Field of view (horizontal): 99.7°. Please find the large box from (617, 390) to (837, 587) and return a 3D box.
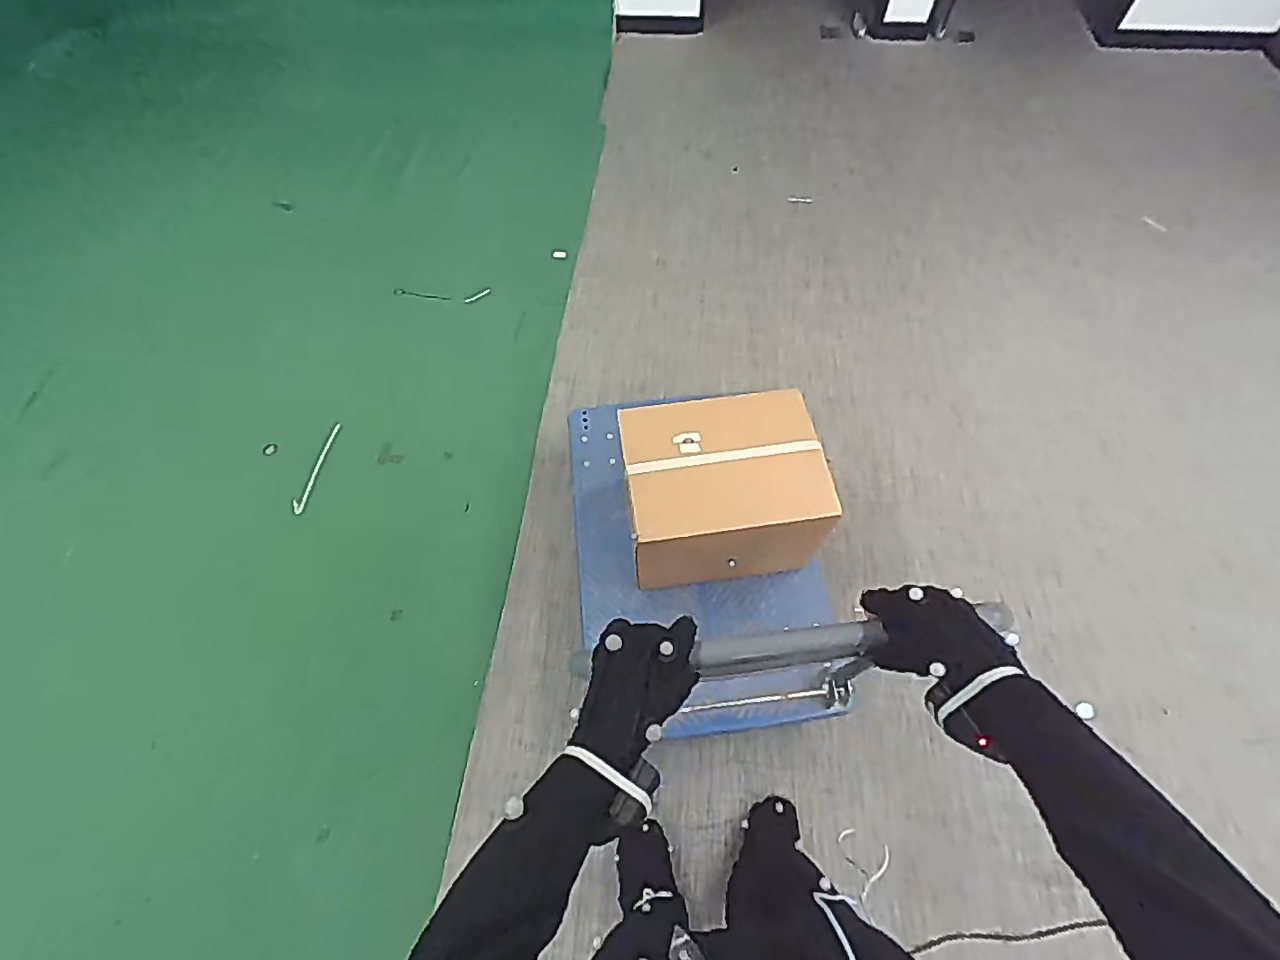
[{"bbox_3d":[0.176,0.032,1.247,0.408,0.320,0.320,-9,61,-2],"label":"large box"}]
